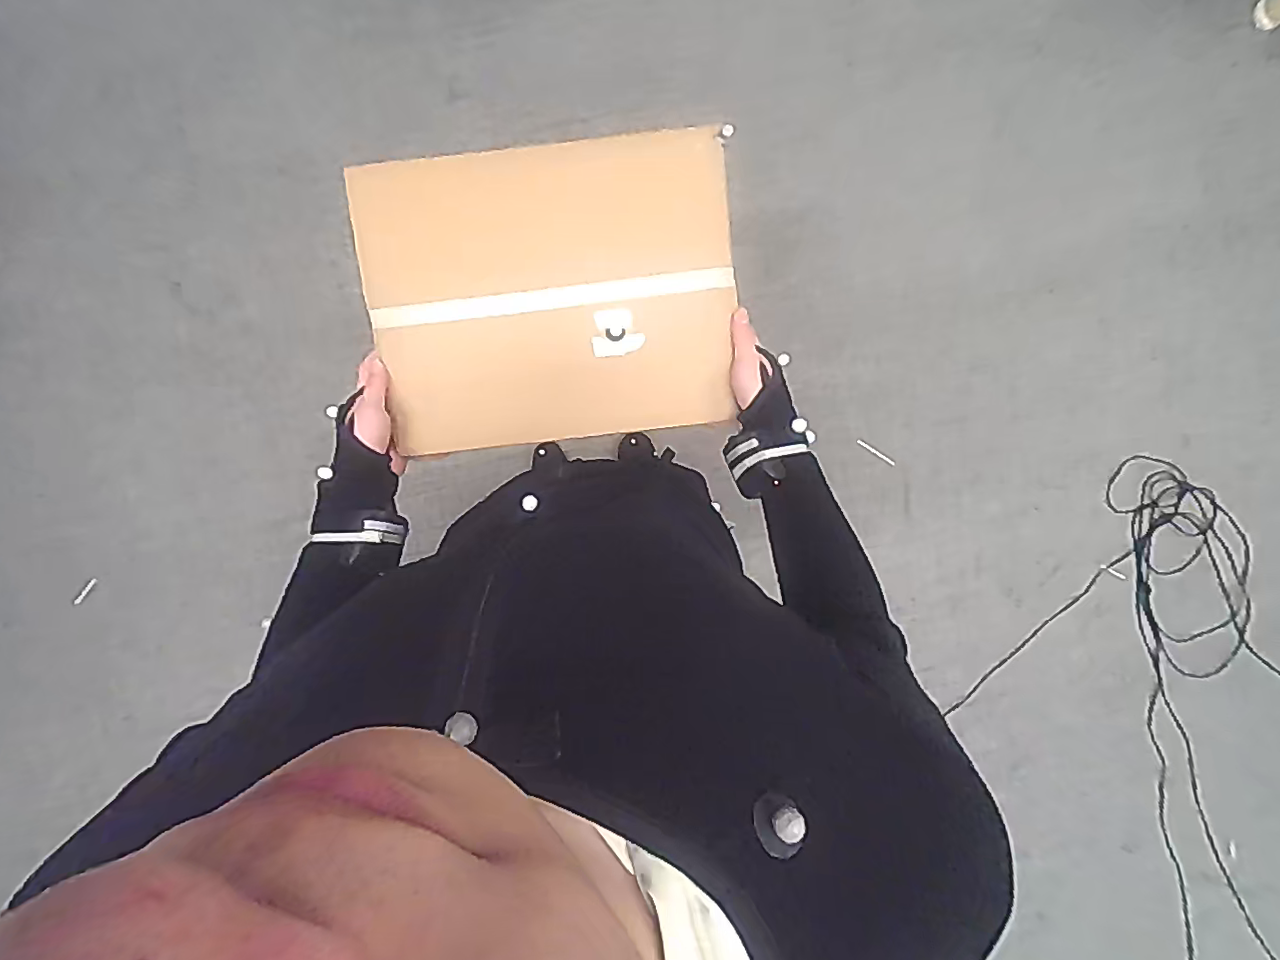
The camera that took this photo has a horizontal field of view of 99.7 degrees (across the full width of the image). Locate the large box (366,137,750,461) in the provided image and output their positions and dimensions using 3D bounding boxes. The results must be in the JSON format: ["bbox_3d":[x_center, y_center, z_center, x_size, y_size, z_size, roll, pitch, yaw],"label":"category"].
[{"bbox_3d":[-0.089,-0.219,0.756,0.408,0.320,0.320,-7,100,0],"label":"large box"}]

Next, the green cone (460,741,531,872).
[{"bbox_3d":[-0.444,0.937,1.525,0.200,0.368,0.202,-6,96,-2],"label":"green cone"}]
